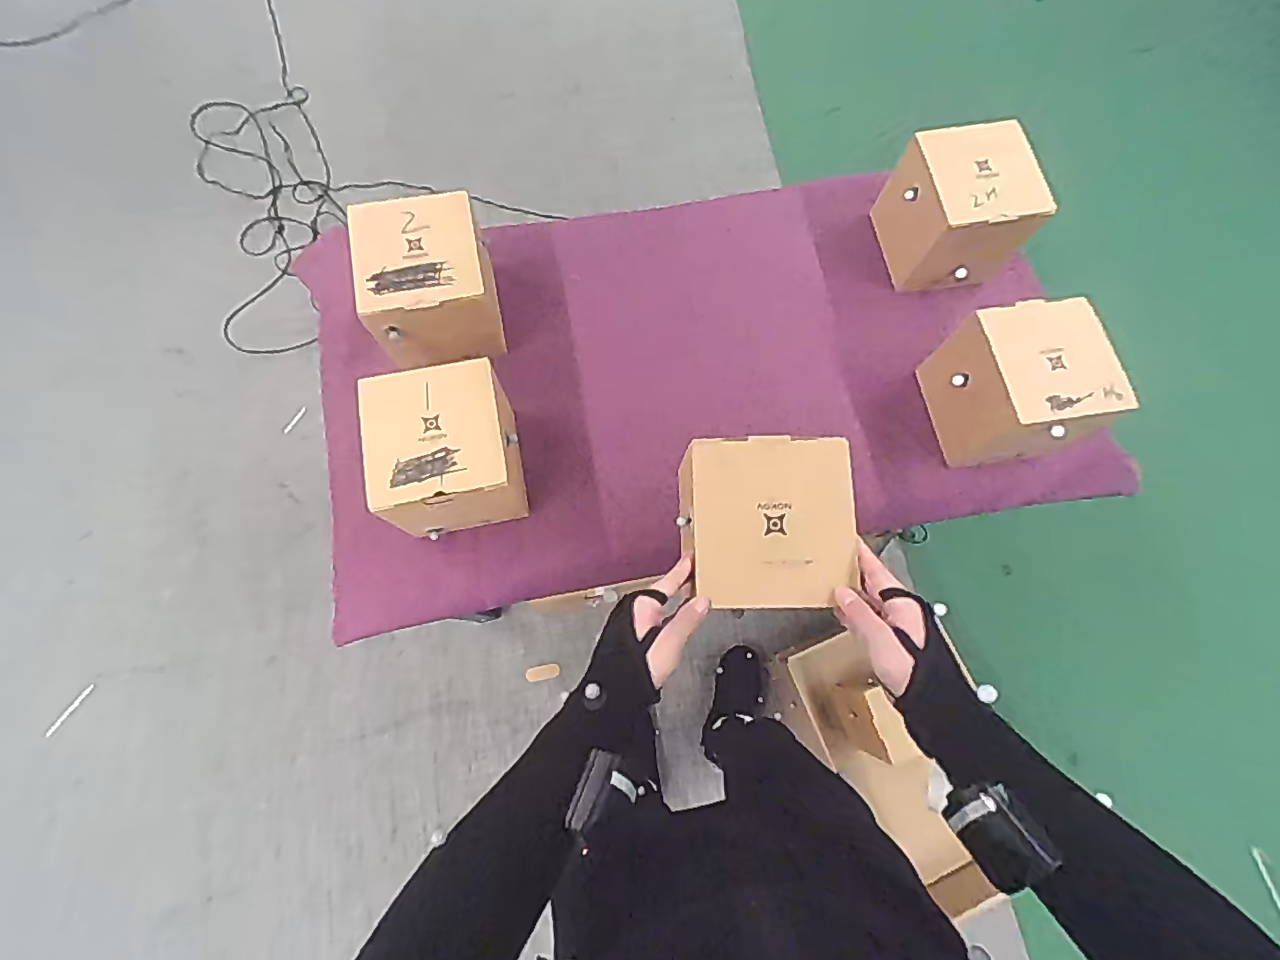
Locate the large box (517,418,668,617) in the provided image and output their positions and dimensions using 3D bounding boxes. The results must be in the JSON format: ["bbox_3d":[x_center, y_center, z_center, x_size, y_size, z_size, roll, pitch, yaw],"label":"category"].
[{"bbox_3d":[-0.133,0.109,1.390,0.320,0.320,0.408,-12,73,-6],"label":"large box"}]

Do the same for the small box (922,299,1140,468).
[{"bbox_3d":[0.549,-0.135,0.792,0.168,0.176,0.179,-8,71,-3],"label":"small box"}]

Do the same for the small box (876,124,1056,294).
[{"bbox_3d":[0.512,-0.434,0.882,0.168,0.176,0.179,-9,75,-2],"label":"small box"}]

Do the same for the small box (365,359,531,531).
[{"bbox_3d":[-0.252,-0.036,0.738,0.168,0.176,0.179,-11,72,-6],"label":"small box"}]

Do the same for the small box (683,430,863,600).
[{"bbox_3d":[0.139,0.049,0.628,0.168,0.176,0.179,0,80,0],"label":"small box"}]
